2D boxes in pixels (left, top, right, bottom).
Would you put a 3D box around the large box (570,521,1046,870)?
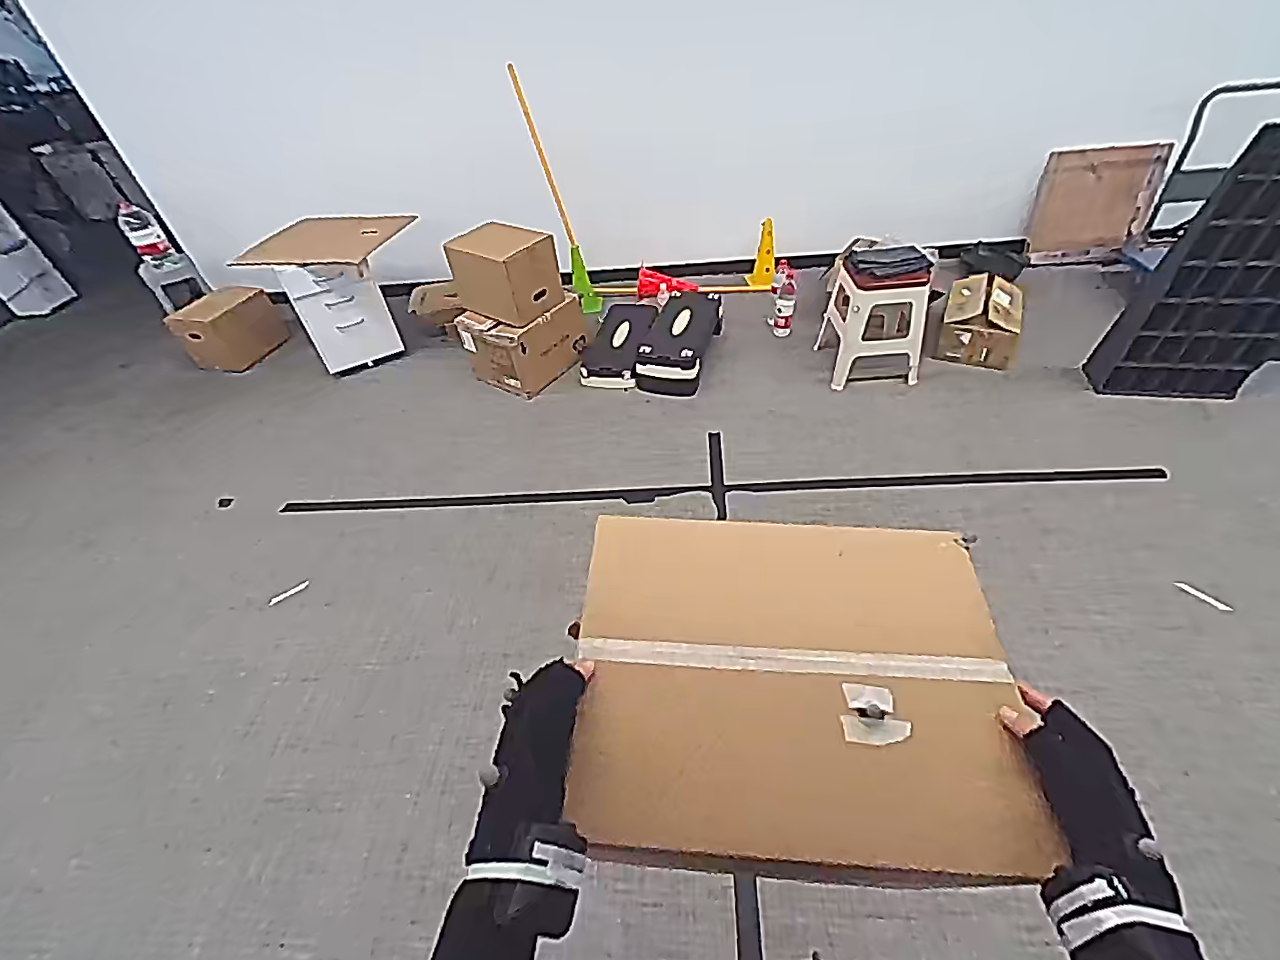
[{"bbox_3d":[0.145,0.267,0.656,0.408,0.320,0.320,3,53,3],"label":"large box"}]
